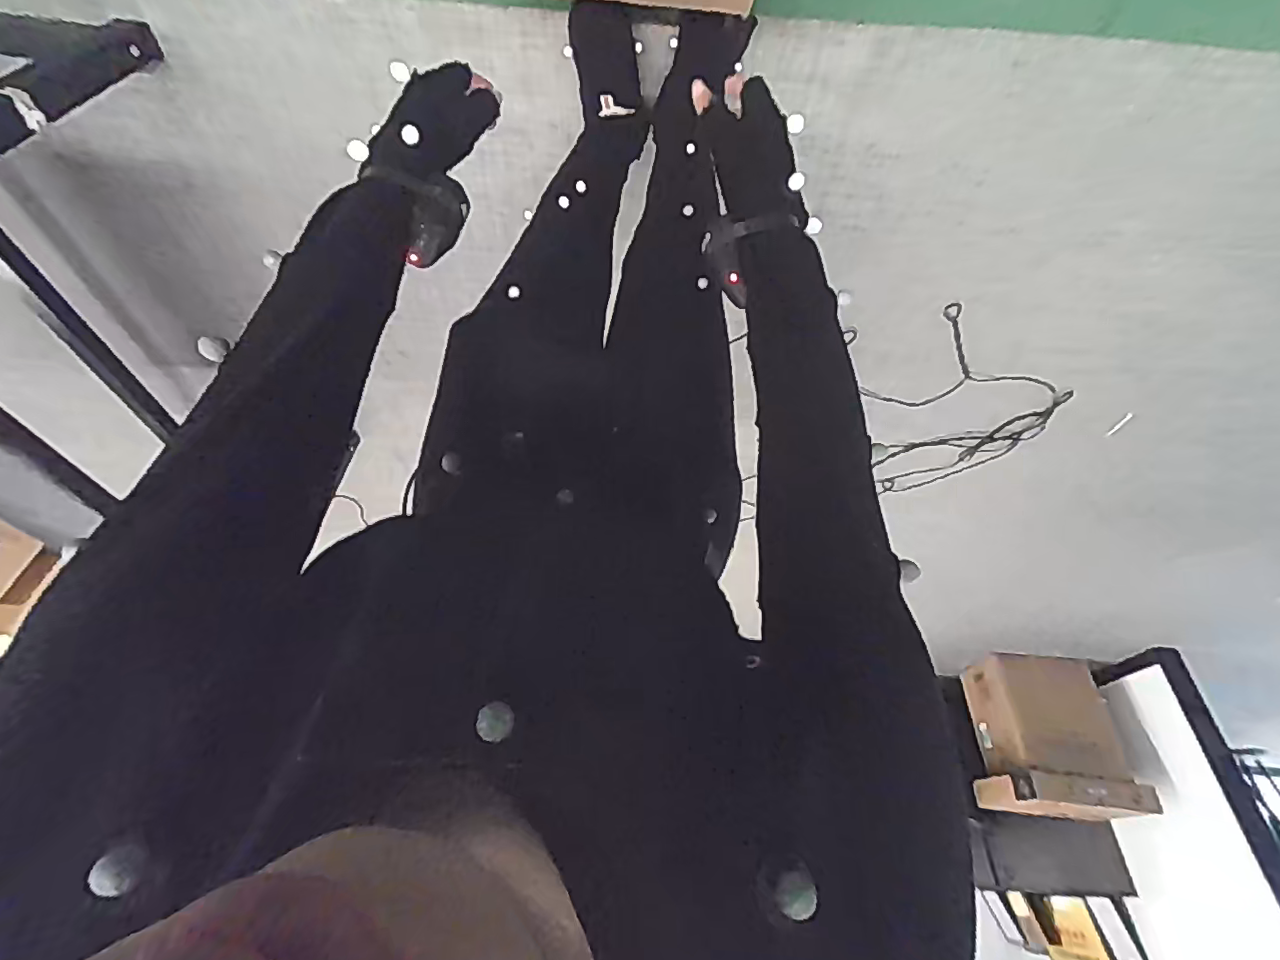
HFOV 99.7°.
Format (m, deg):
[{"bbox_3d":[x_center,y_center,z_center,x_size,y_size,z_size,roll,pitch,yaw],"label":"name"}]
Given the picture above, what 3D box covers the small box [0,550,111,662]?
[{"bbox_3d":[-1.237,0.253,1.090,0.179,0.176,0.168,6,144,0],"label":"small box"}]
